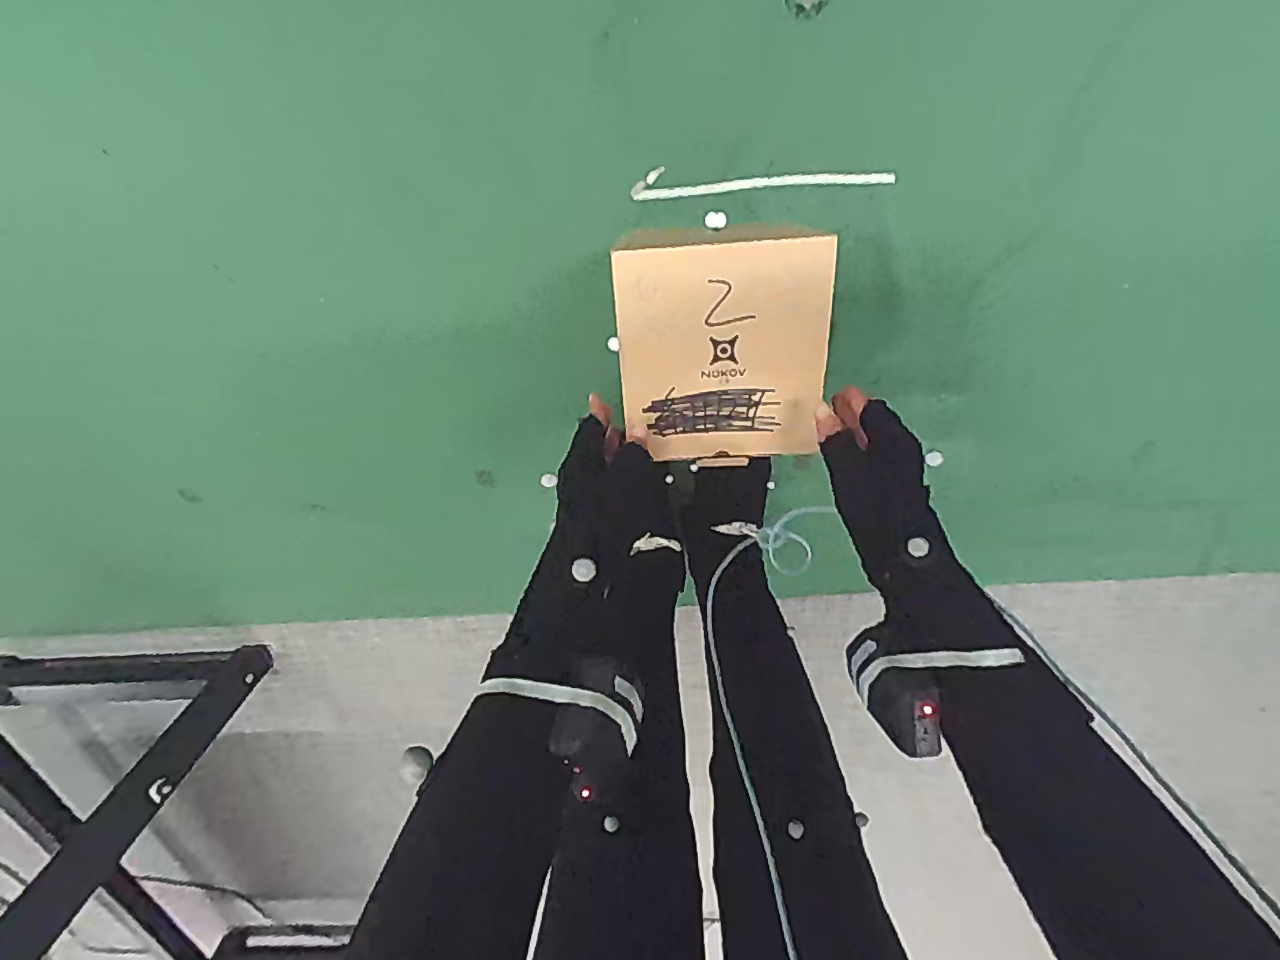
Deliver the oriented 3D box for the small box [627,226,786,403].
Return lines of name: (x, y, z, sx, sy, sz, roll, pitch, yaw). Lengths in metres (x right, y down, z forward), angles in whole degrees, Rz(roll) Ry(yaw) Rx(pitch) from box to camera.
small box: (0.072, -0.207, 0.654, 0.168, 0.176, 0.179, -3, 118, 3)
